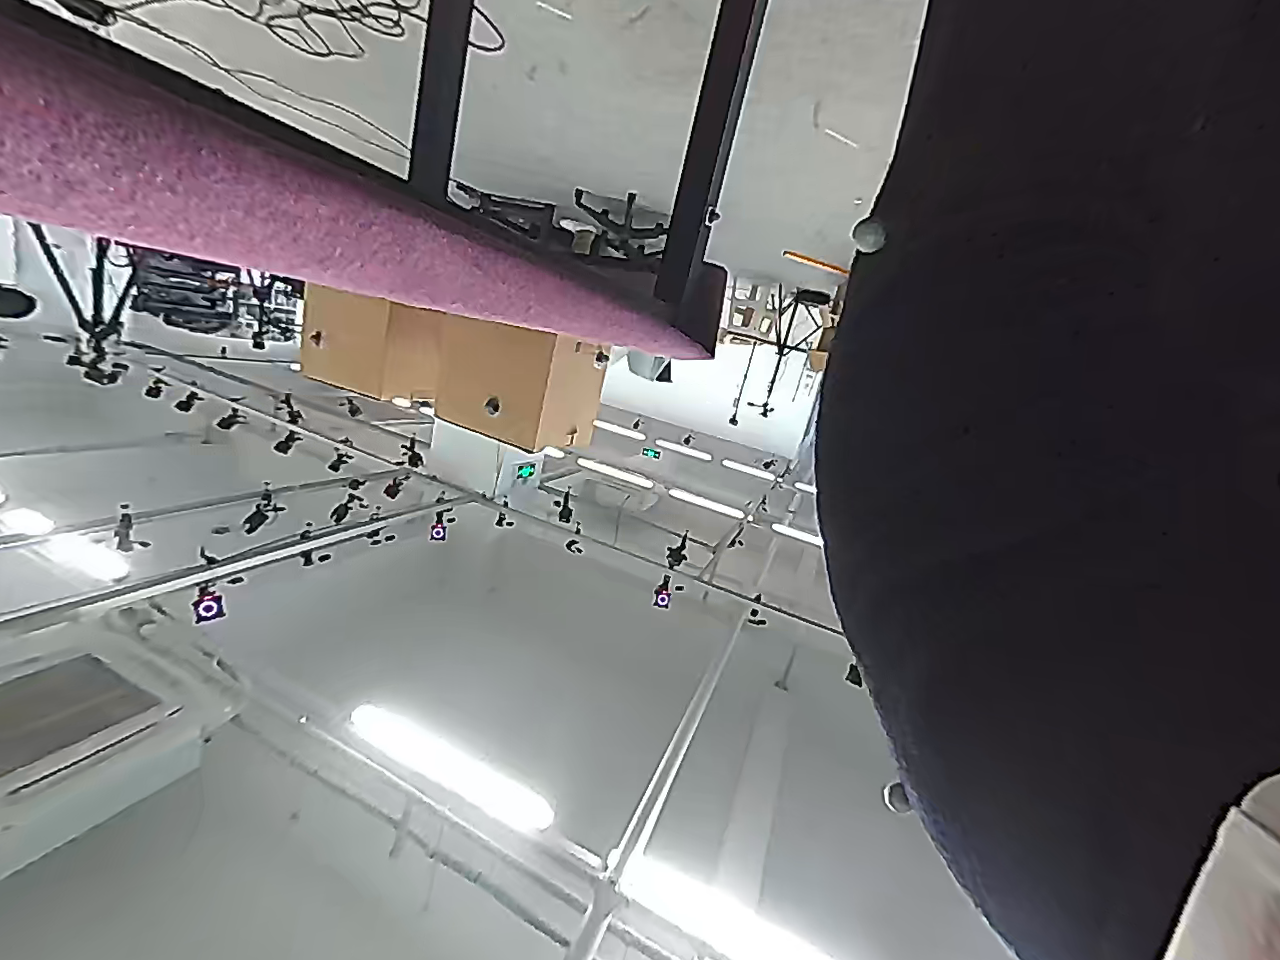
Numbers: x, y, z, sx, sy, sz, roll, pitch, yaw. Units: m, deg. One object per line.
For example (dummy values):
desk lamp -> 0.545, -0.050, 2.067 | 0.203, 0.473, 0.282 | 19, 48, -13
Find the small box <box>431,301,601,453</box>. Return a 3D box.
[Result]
small box -> -0.171, -0.151, 0.786 | 0.179, 0.176, 0.168 | 21, -166, 18
